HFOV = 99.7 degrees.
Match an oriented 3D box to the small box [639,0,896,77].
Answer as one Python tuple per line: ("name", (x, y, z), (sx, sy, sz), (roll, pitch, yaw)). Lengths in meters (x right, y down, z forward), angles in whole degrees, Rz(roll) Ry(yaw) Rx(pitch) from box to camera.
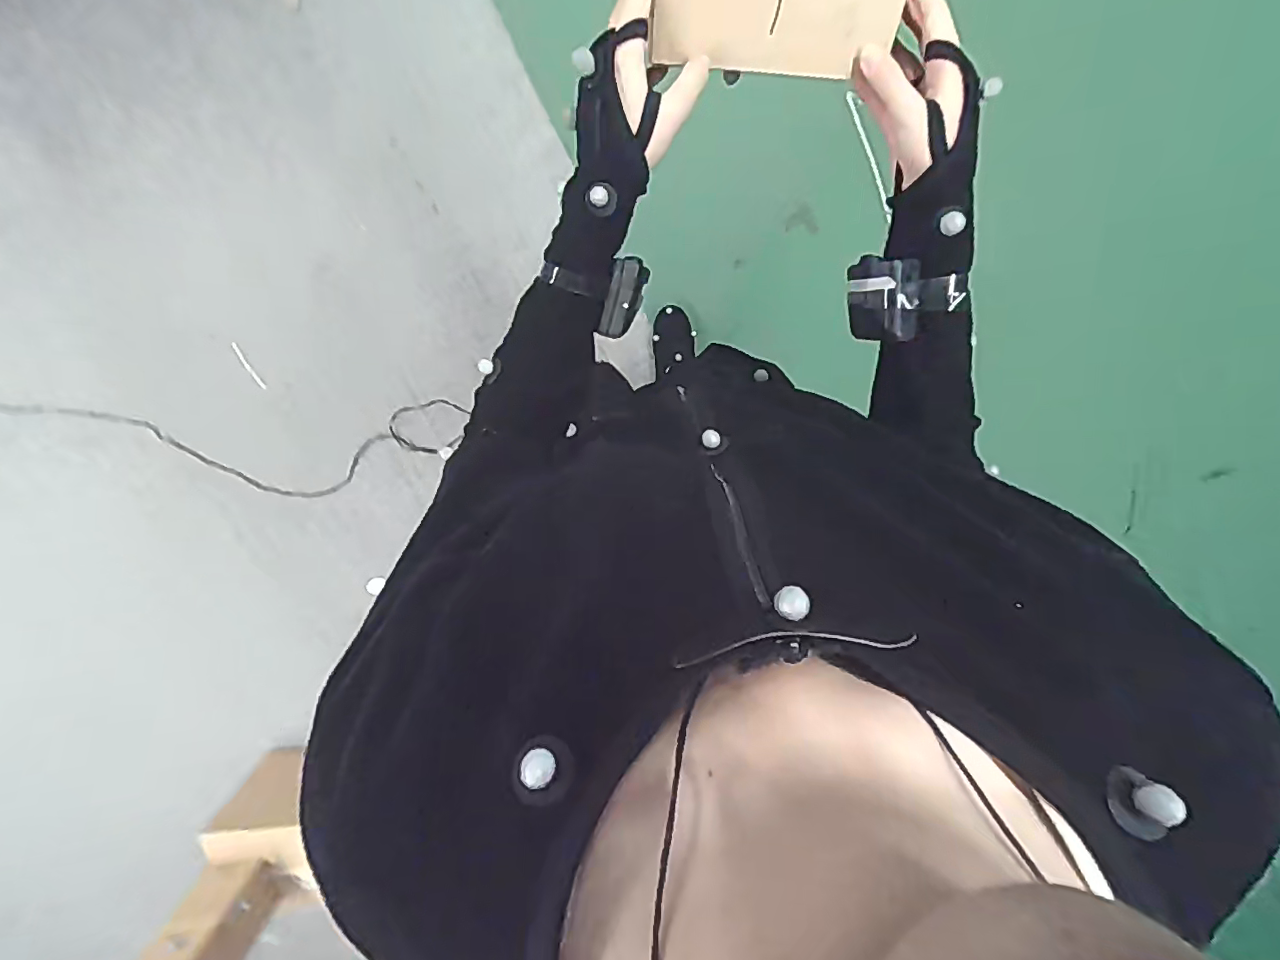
("small box", (0.087, -0.404, 0.379), (0.168, 0.176, 0.179), (2, 131, -3))

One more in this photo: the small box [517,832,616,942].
("small box", (-0.164, 0.988, 1.278), (0.168, 0.176, 0.179), (-27, 104, 5))

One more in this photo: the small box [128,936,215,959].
("small box", (-1.130, 1.224, 1.267), (0.168, 0.176, 0.179), (-8, 105, 1))

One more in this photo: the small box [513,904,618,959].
("small box", (-0.158, 1.028, 1.119), (0.168, 0.176, 0.179), (-29, 103, 7))
